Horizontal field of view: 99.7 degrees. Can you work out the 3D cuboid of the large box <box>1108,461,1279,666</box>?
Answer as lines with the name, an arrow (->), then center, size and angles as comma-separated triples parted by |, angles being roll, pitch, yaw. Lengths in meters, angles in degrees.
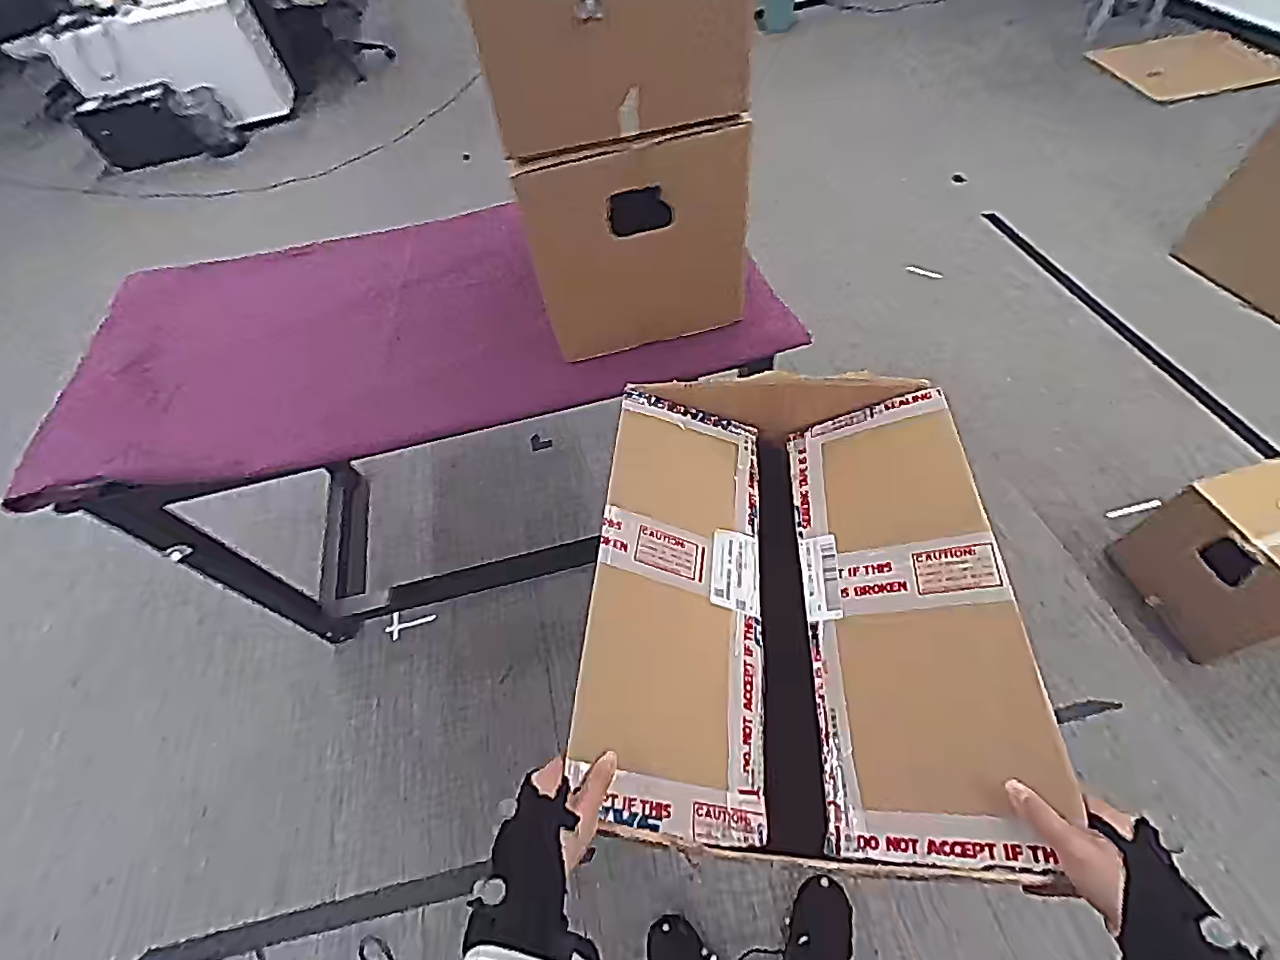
large box -> 1.389, 0.165, 1.172 | 0.408, 0.320, 0.320 | -16, 55, -2
